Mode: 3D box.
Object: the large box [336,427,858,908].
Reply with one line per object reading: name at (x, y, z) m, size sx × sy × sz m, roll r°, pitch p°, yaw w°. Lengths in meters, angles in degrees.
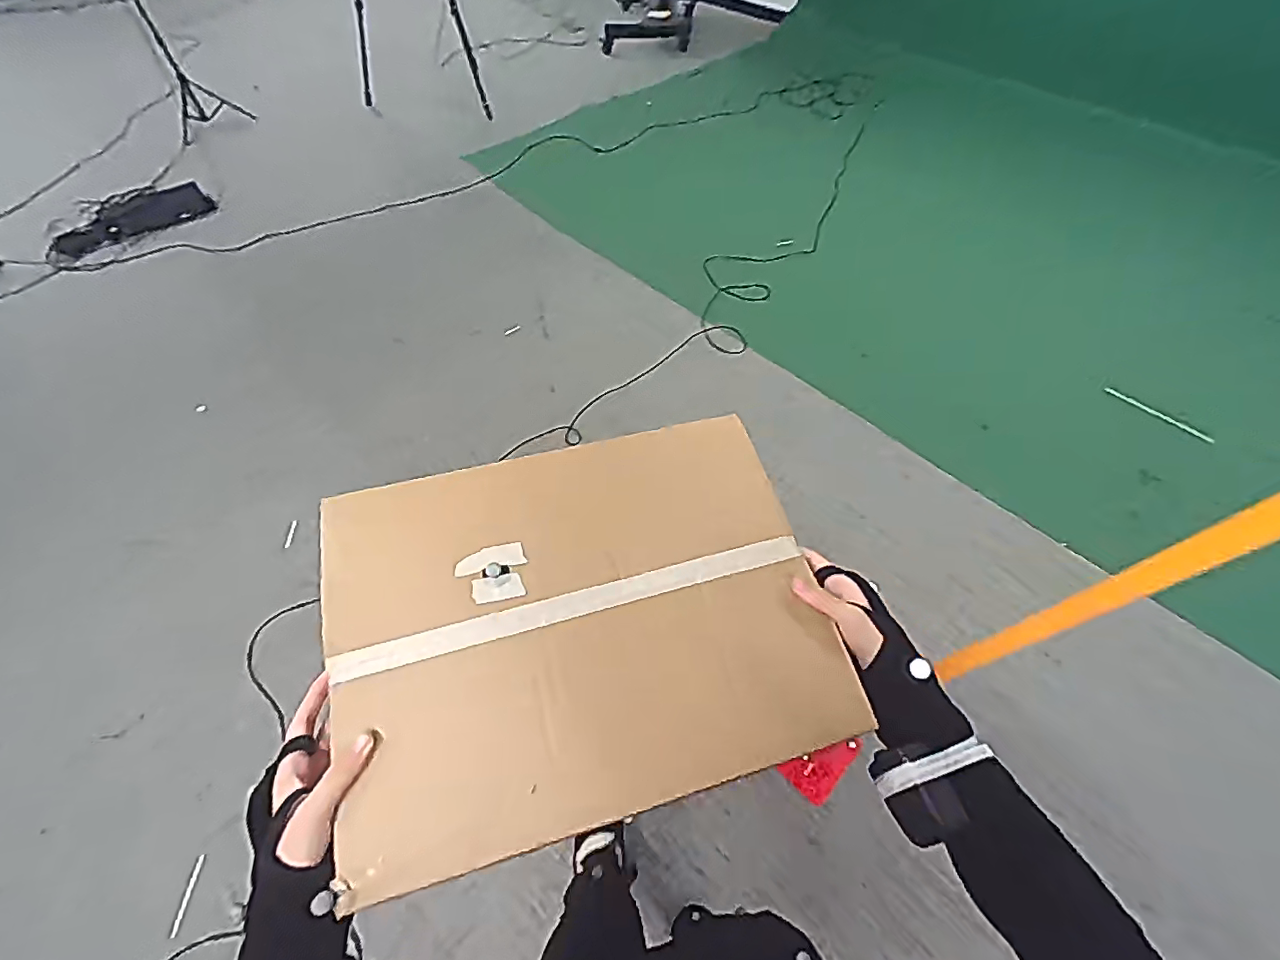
large box at (-0.056, 0.186, 0.605) m, size 0.408 × 0.320 × 0.320 m, roll -13°, pitch 64°, yaw -10°
